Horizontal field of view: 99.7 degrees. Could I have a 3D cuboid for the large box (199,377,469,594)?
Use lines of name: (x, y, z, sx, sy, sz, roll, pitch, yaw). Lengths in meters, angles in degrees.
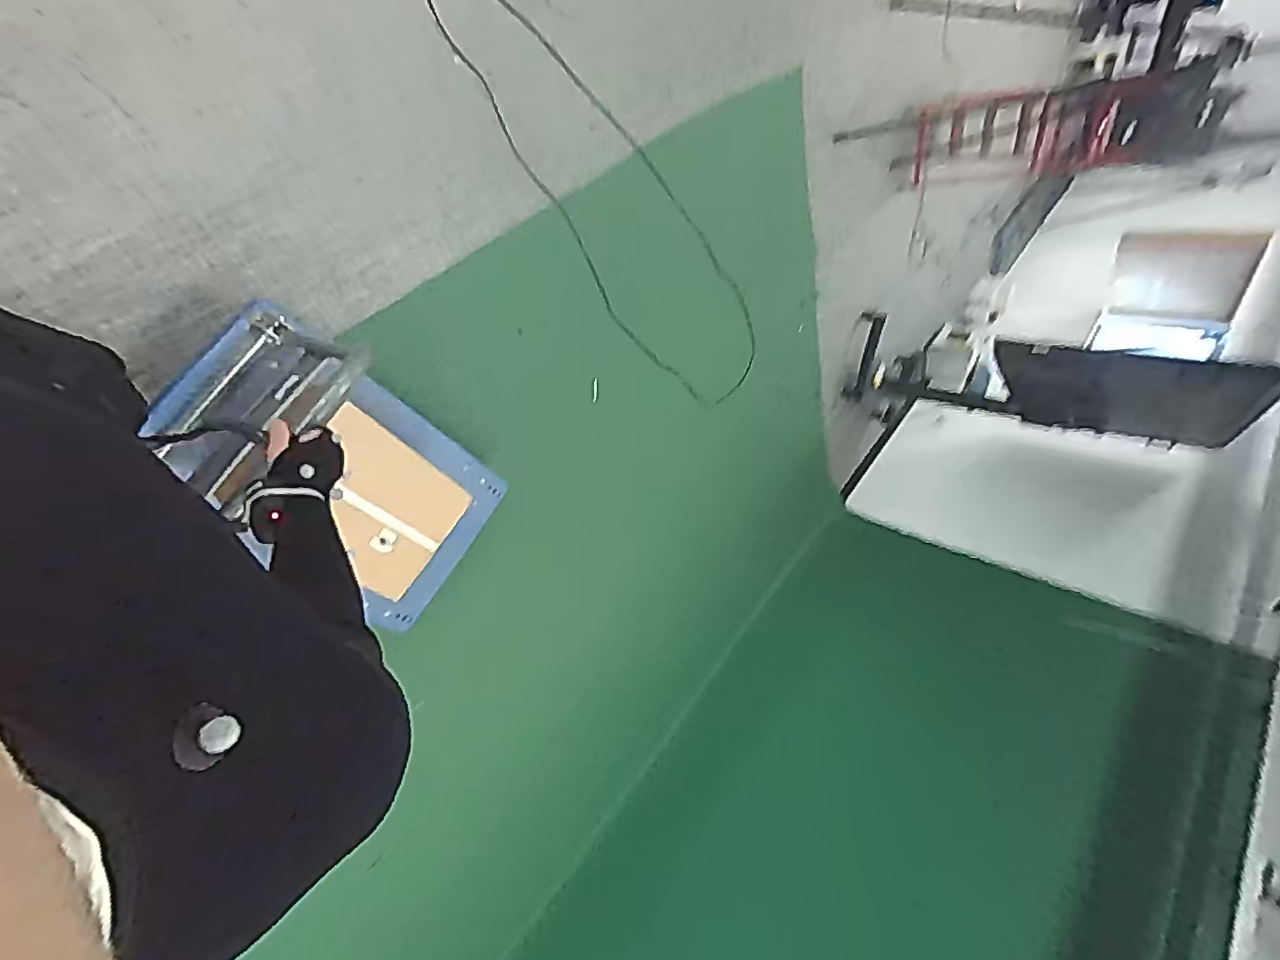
large box: (-0.710, 0.015, 1.291, 0.320, 0.320, 0.408, -56, 141, -15)
